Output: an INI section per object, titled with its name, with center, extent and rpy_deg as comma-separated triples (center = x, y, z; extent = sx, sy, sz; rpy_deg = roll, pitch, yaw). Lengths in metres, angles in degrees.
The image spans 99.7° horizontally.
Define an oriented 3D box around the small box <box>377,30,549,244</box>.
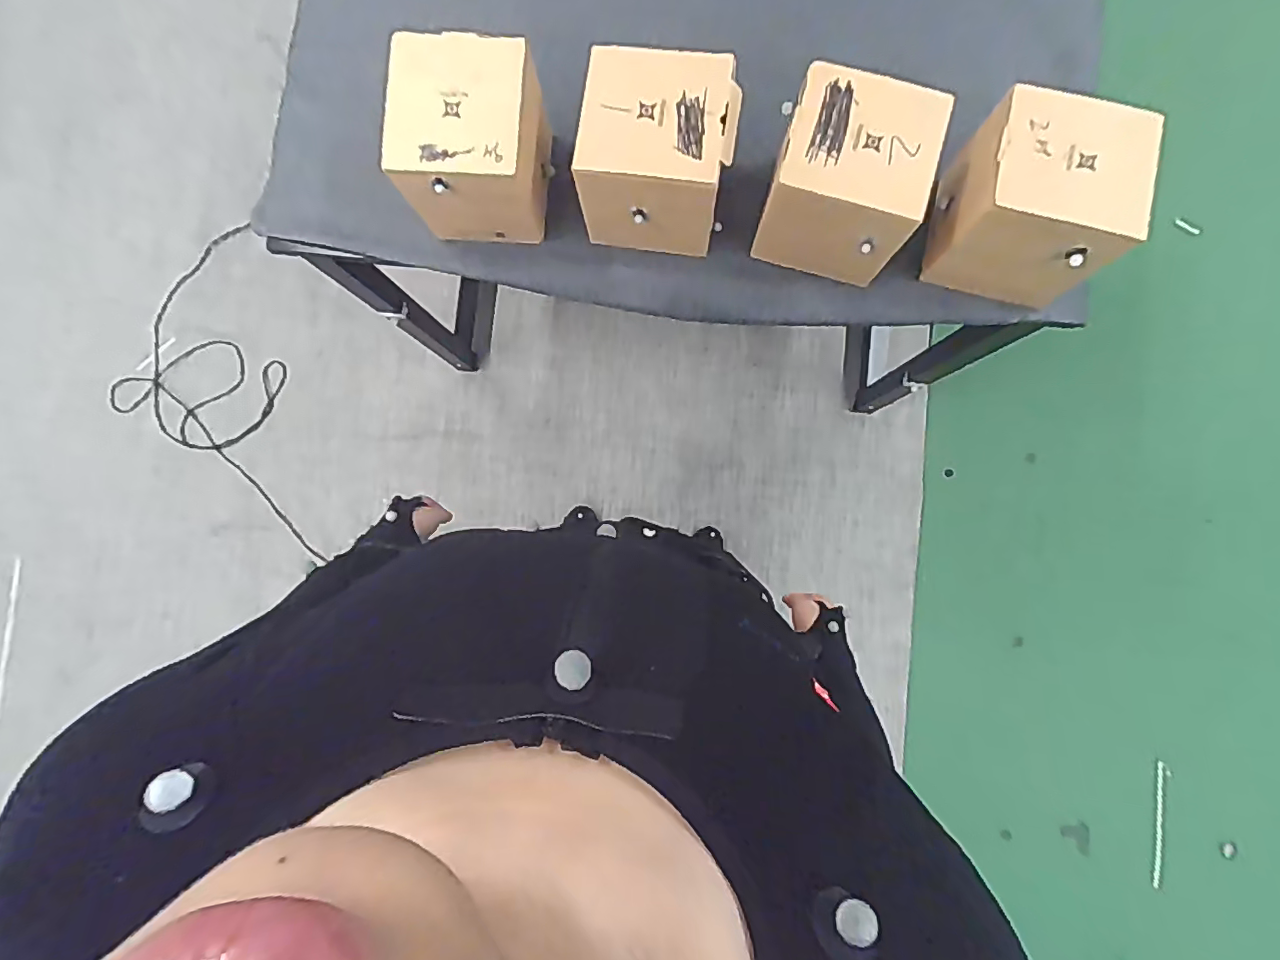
[small box]
center = -0.222, -0.447, 0.725
extent = 0.168, 0.176, 0.179
rpy_deg = 4, 86, 3
